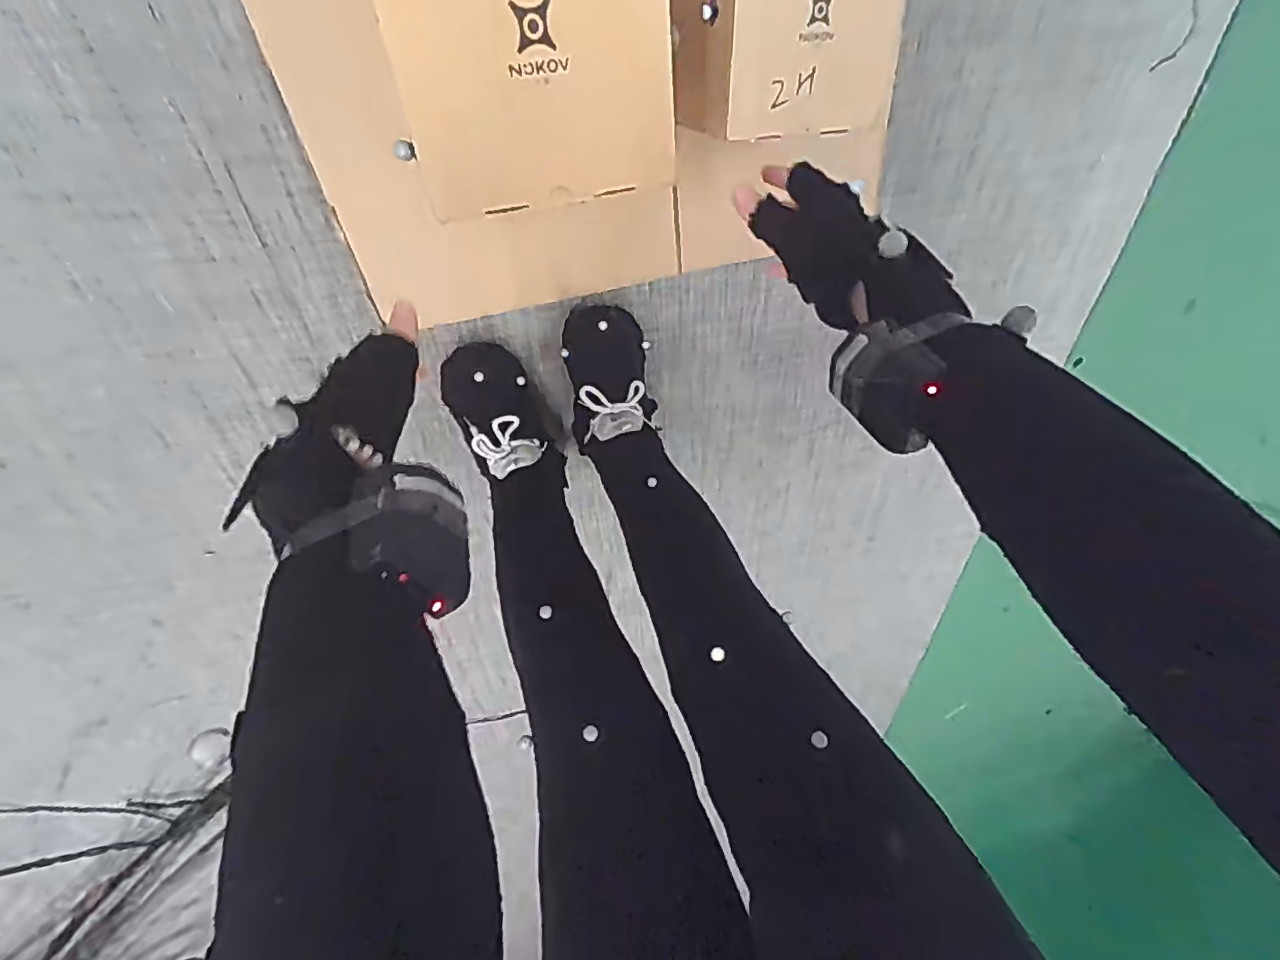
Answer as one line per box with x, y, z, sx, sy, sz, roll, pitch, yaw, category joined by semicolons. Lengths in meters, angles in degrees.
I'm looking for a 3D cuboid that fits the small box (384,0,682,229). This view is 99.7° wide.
-0.078;-0.296;0.374;0.168;0.176;0.179;-15;130;-9;small box

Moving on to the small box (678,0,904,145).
0.140;-0.453;0.547;0.168;0.176;0.179;-11;130;-11;small box
